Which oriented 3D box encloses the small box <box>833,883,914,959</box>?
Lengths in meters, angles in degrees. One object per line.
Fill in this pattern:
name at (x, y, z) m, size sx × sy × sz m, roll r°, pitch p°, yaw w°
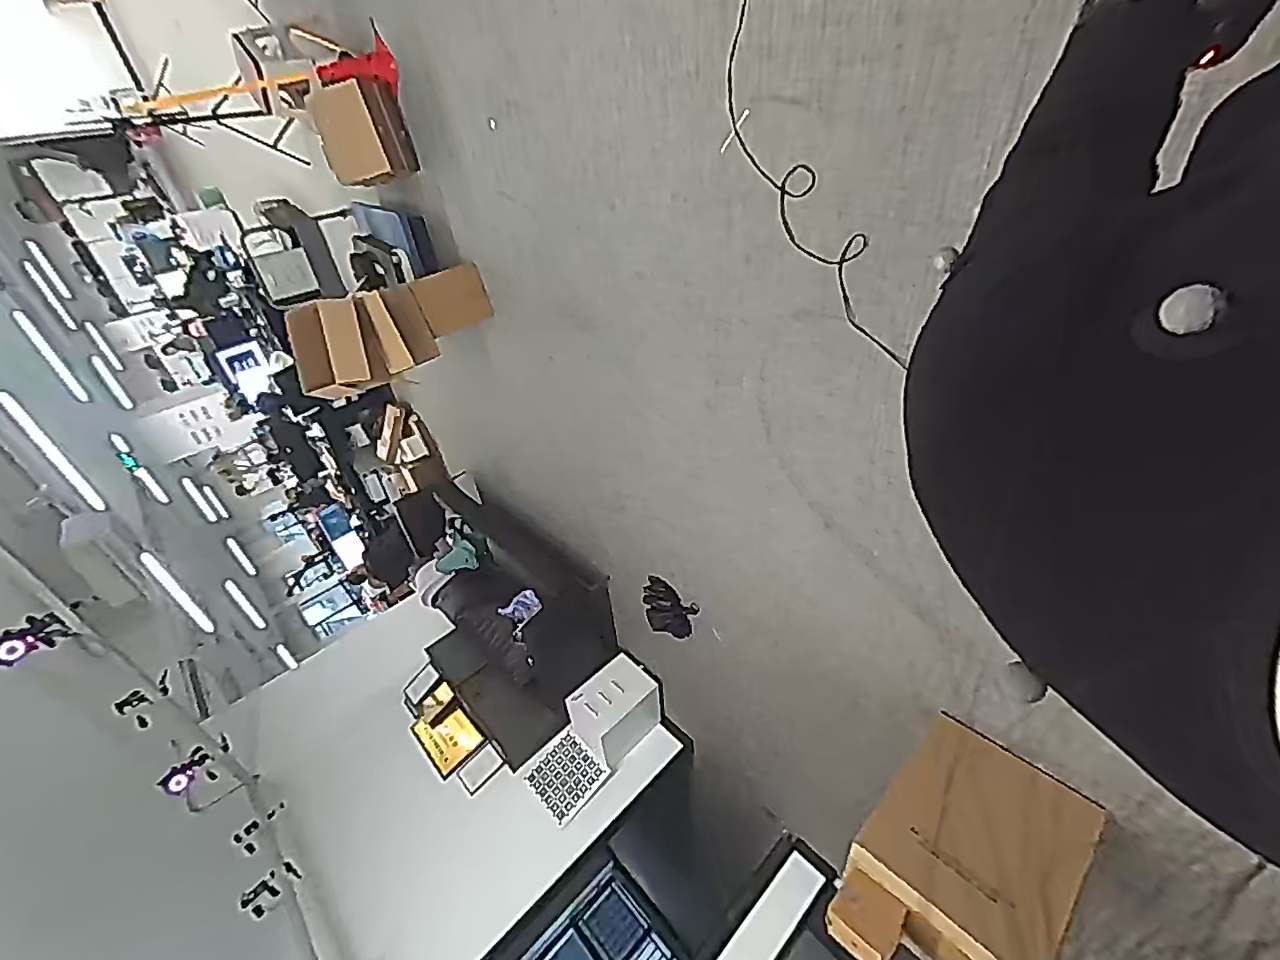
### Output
small box at (0.724, 1.410, 1.686) m, size 0.179 × 0.176 × 0.168 m, roll 19°, pitch 130°, yaw 45°
